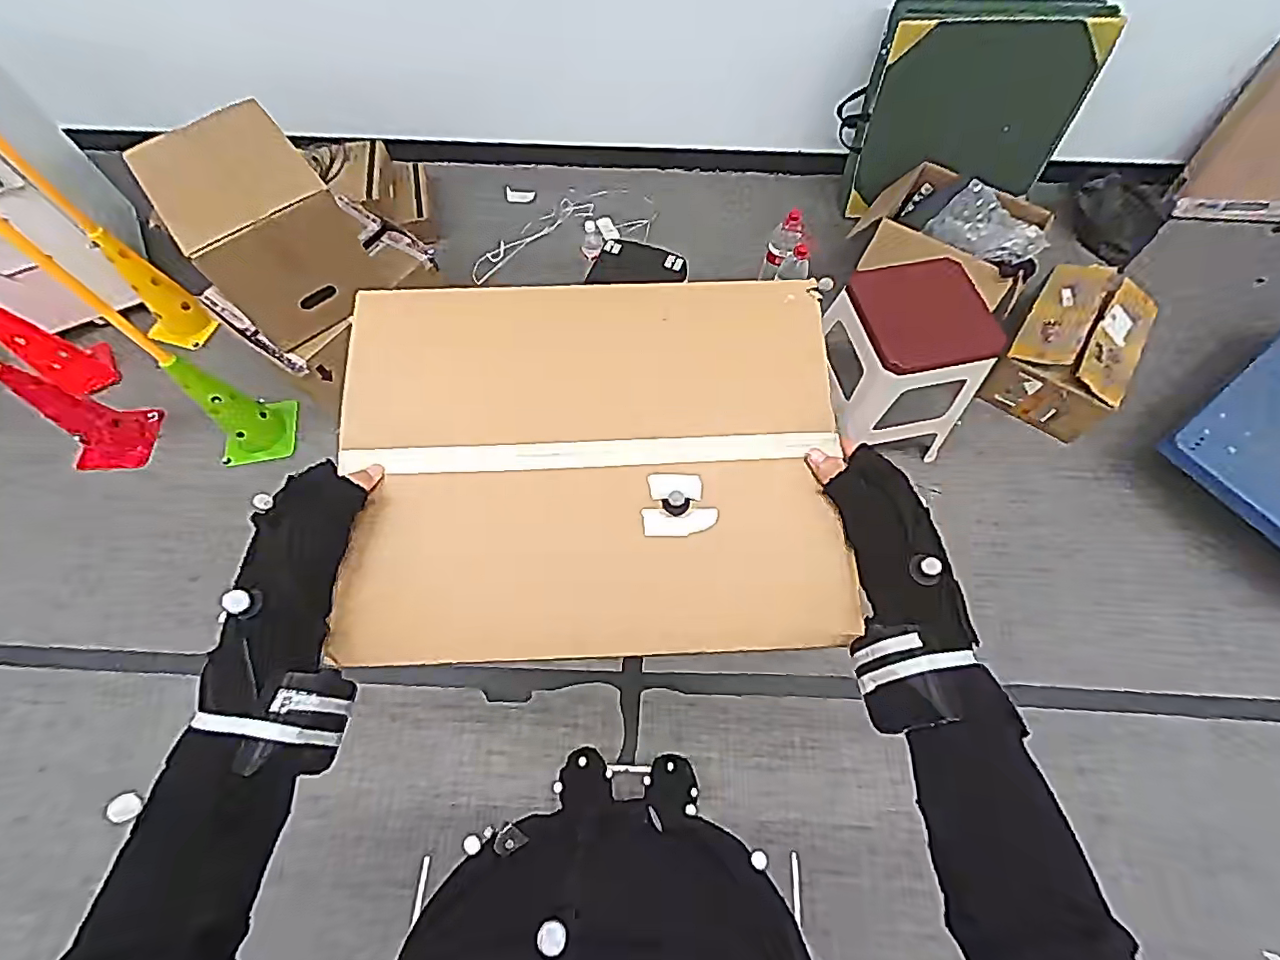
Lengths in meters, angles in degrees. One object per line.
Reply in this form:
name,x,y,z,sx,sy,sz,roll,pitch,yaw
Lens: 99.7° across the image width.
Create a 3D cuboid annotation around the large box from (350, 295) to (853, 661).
large box,-0.038,0.021,0.603,0.408,0.320,0.320,-2,76,-2
